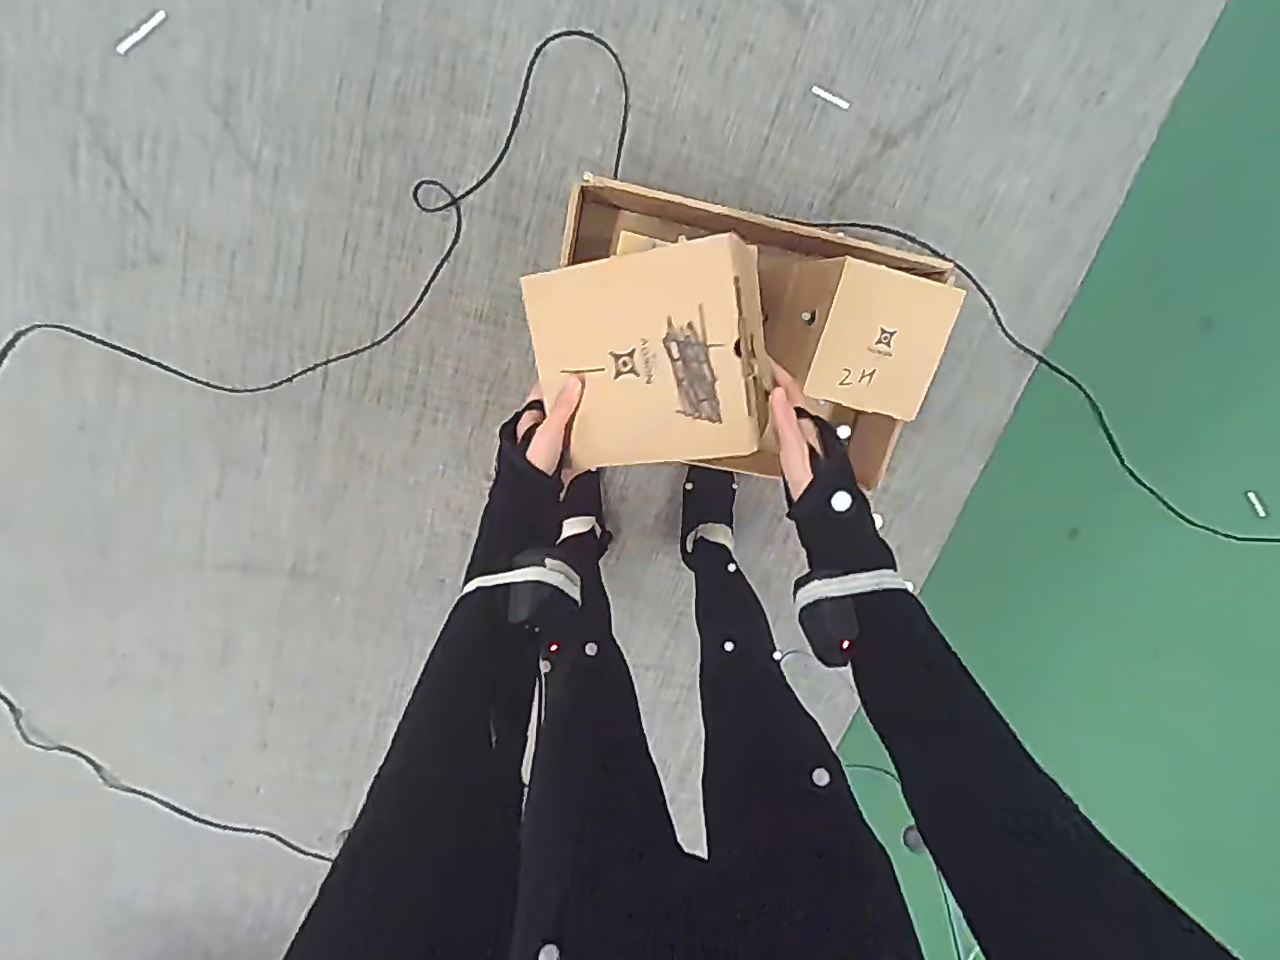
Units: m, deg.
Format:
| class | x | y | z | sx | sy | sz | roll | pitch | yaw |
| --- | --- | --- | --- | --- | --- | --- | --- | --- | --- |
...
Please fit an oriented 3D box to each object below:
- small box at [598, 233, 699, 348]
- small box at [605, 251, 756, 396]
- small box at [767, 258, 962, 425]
| class | x | y | z | sx | sy | sz | roll | pitch | yaw |
| --- | --- | --- | --- | --- | --- | --- | --- | --- | --- |
| small box | 0.030 | -0.289 | 0.882 | 0.179 | 0.176 | 0.168 | 10 | 109 | -9 |
| small box | 0.048 | -0.218 | 0.736 | 0.179 | 0.176 | 0.168 | -6 | 111 | -4 |
| small box | 0.297 | -0.196 | 0.760 | 0.168 | 0.176 | 0.179 | 12 | 108 | -8 |
